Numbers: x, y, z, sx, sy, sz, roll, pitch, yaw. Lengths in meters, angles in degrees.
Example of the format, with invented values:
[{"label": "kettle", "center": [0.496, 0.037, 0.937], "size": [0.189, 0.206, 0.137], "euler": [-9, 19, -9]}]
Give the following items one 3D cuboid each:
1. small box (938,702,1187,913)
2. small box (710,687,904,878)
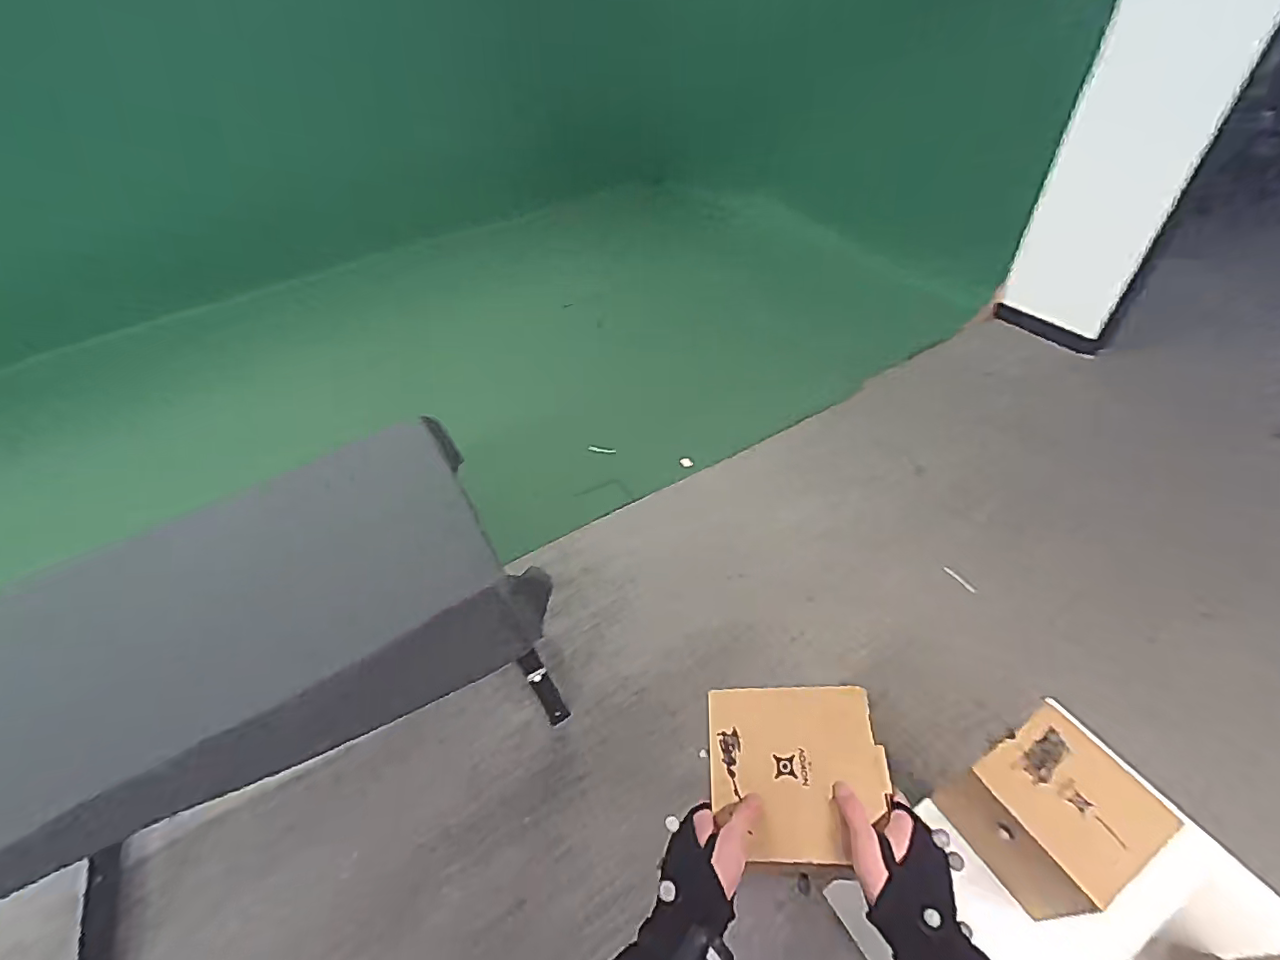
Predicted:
[{"label": "small box", "center": [0.550, 0.446, 0.735], "size": [0.168, 0.176, 0.179], "euler": [-26, 52, -17]}, {"label": "small box", "center": [0.174, 0.346, 0.617], "size": [0.179, 0.176, 0.168], "euler": [-5, 50, 9]}]
